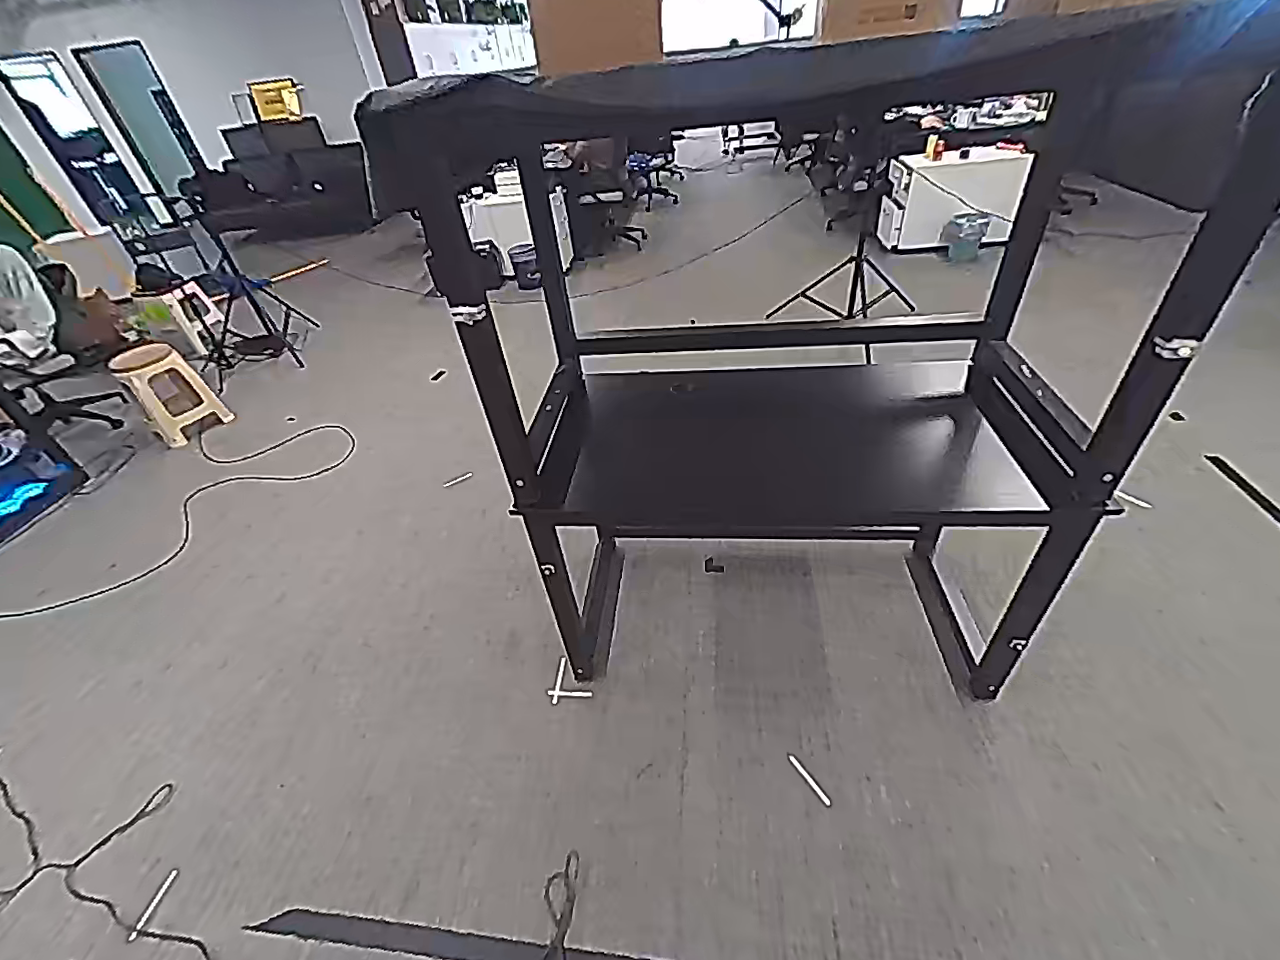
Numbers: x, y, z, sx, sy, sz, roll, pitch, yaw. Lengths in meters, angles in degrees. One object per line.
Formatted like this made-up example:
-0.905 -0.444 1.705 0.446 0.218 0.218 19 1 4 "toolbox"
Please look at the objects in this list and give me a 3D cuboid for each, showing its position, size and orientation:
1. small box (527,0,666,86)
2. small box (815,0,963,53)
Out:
-0.055 -0.661 0.745 0.179 0.176 0.168 -3 37 5 "small box"
0.327 -0.677 0.708 0.168 0.176 0.179 1 38 11 "small box"
